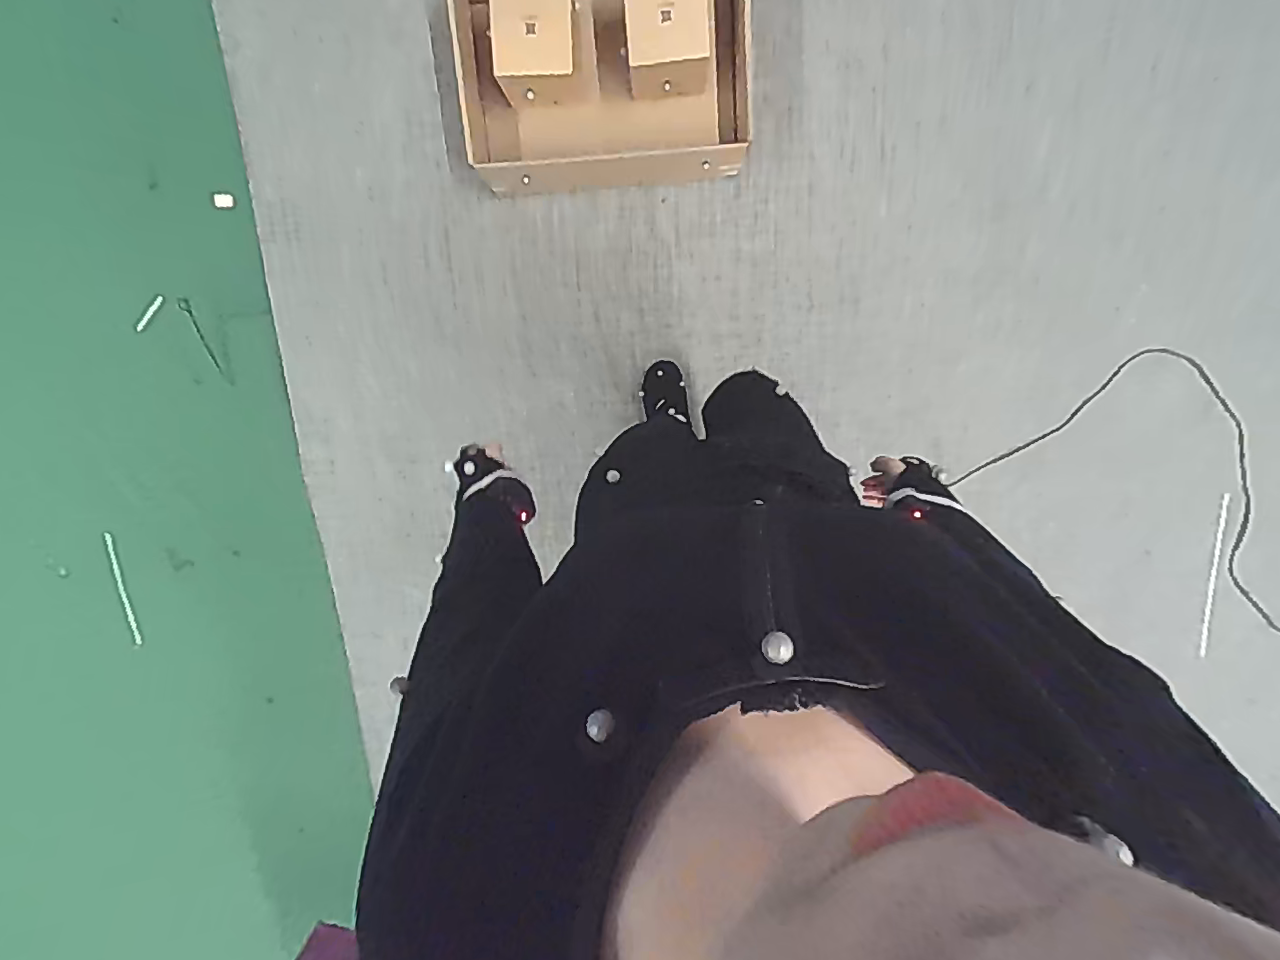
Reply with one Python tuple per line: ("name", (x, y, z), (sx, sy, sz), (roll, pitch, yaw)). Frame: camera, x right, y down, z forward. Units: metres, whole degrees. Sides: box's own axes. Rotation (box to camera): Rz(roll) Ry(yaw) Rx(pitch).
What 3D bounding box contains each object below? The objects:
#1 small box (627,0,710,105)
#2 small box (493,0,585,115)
("small box", (0.062, -0.935, 1.159), (0.168, 0.176, 0.179), (-4, 103, 3))
("small box", (-0.211, -0.922, 1.177), (0.168, 0.176, 0.179), (0, 102, 2))
